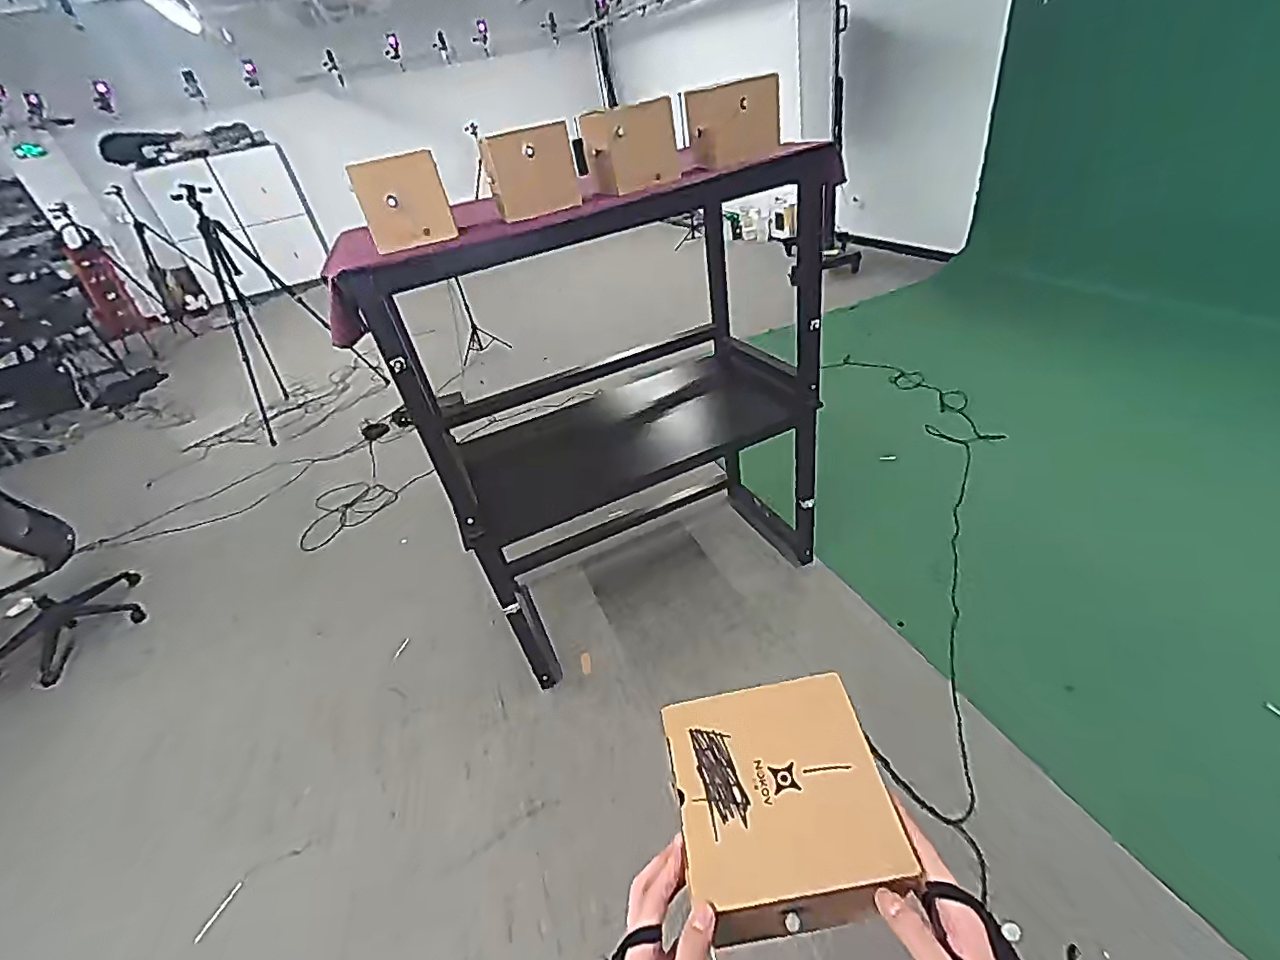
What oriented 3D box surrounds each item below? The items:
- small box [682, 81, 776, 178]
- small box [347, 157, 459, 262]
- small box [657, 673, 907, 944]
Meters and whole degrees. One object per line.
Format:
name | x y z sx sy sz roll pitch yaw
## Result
small box | 0.225 -0.866 1.344 0.179 0.176 0.168 -20 37 -10
small box | -0.500 -0.578 1.160 0.168 0.176 0.179 -19 34 -11
small box | 0.123 0.314 0.515 0.179 0.176 0.168 -12 41 2
